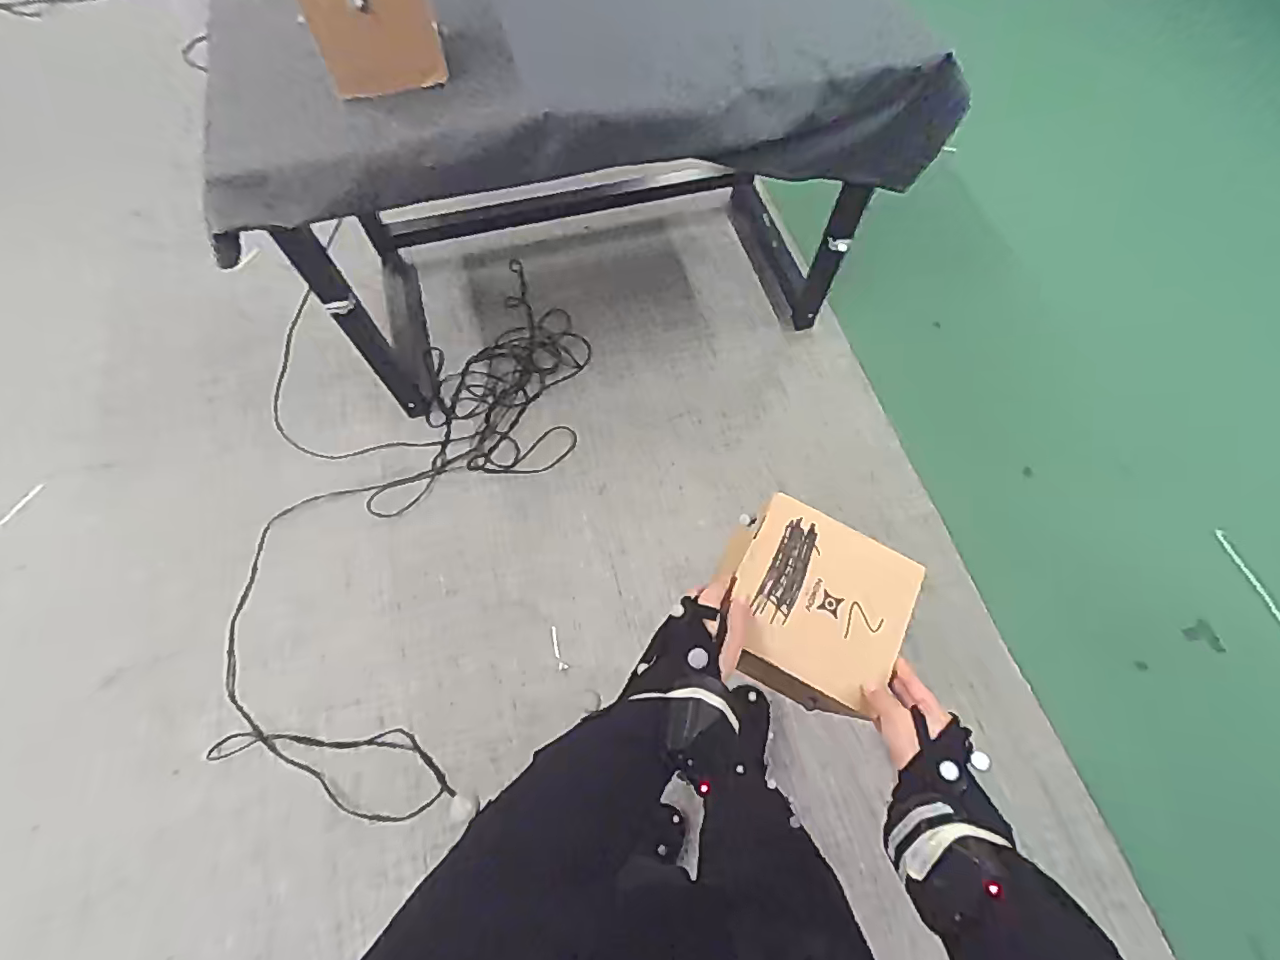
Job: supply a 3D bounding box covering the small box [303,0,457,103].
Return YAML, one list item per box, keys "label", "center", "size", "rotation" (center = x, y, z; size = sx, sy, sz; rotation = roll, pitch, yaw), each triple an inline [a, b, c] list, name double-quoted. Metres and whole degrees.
- label: "small box"
  center: [-0.401, -0.717, 0.831]
  size: [0.179, 0.176, 0.168]
  rotation: [-14, 68, -8]
